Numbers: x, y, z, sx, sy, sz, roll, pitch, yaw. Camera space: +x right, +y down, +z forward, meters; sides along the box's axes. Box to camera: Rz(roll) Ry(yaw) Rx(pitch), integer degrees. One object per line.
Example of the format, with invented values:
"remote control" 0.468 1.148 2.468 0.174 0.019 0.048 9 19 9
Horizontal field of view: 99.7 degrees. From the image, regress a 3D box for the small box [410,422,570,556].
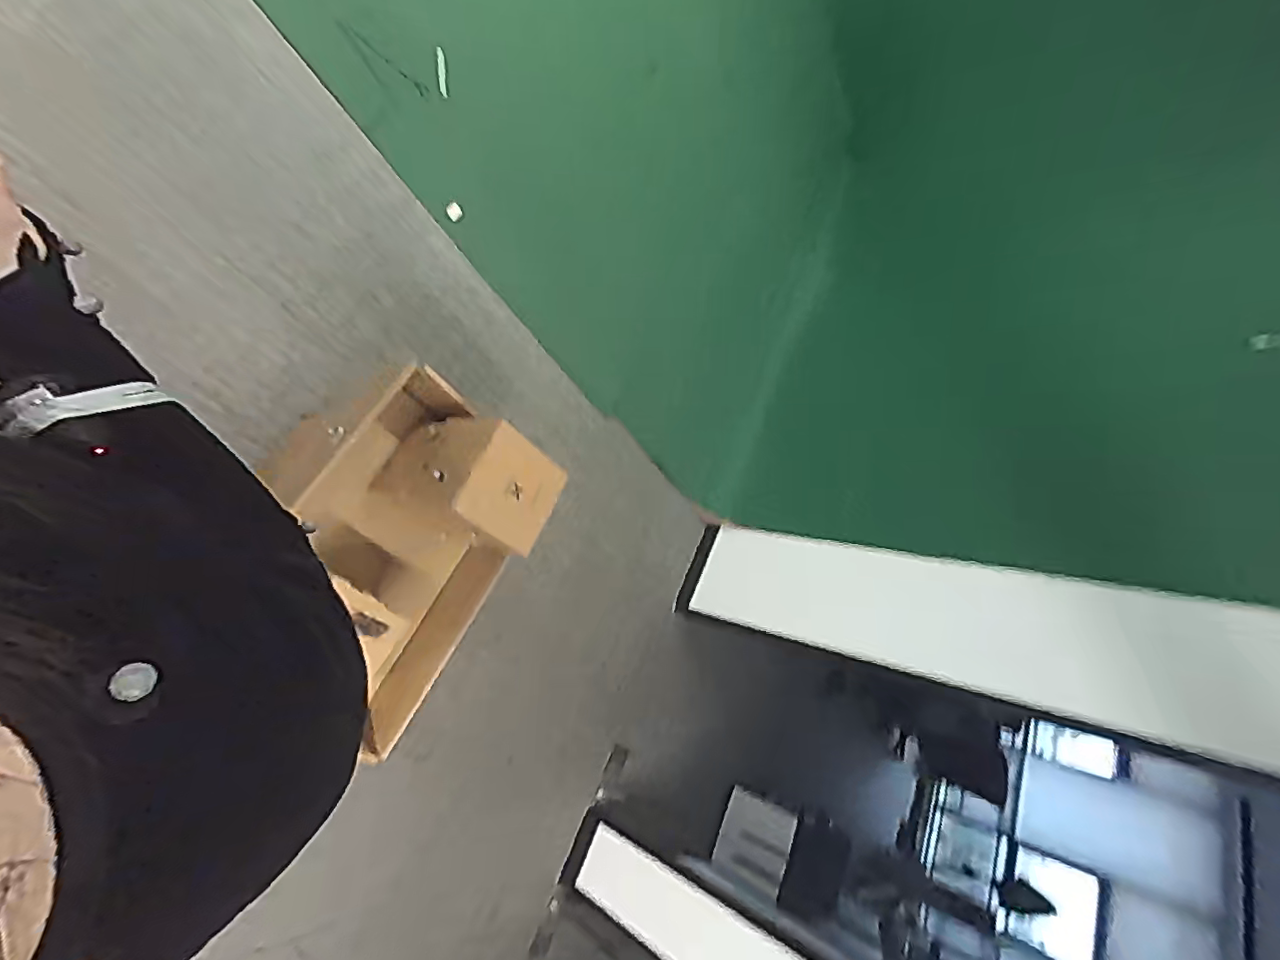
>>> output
"small box" -0.264 0.013 0.951 0.179 0.176 0.168 46 62 -43
